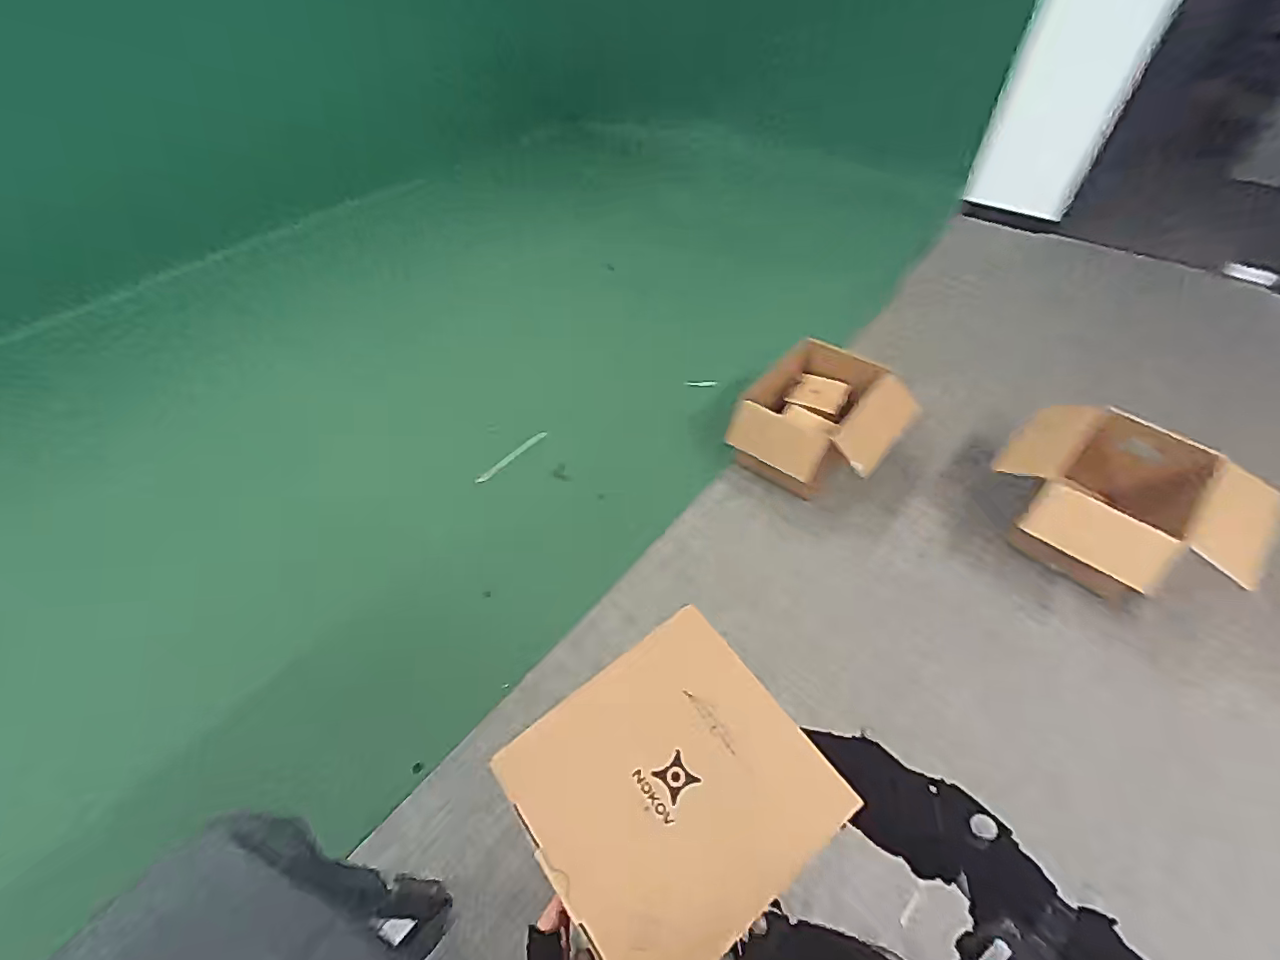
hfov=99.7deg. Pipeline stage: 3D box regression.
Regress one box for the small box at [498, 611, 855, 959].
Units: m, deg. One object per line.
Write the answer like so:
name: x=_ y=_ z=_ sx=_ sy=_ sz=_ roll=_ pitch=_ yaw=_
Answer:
small box: x=0.023 y=0.238 z=0.415 sx=0.179 sy=0.176 sz=0.168 roll=-33 pitch=63 yaw=-18
